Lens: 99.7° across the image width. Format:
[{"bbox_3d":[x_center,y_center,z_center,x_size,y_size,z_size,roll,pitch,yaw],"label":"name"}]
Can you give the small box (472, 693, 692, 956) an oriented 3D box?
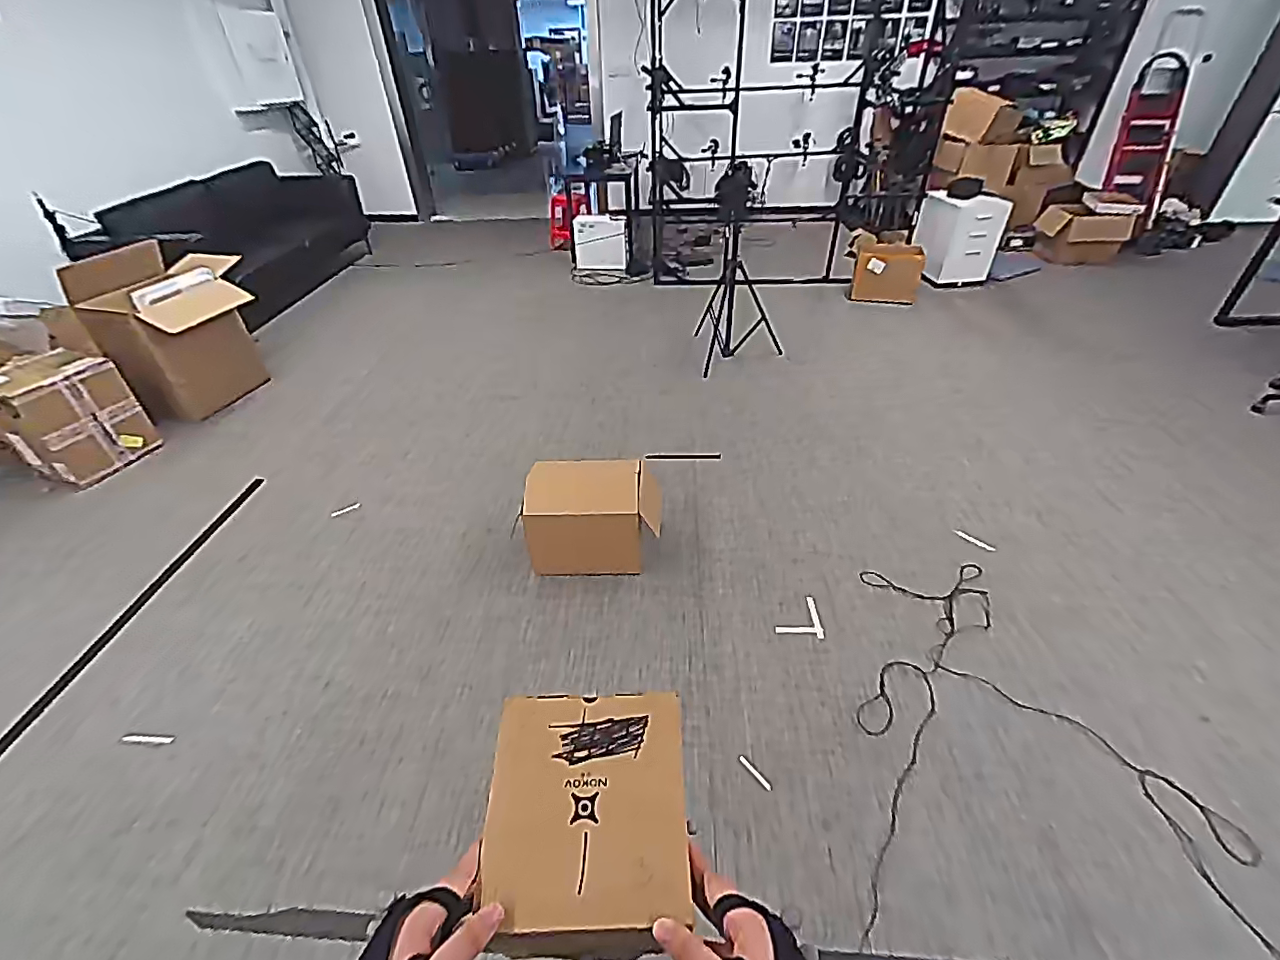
[{"bbox_3d":[-0.044,0.324,0.512,0.168,0.176,0.179,-2,44,-1],"label":"small box"}]
